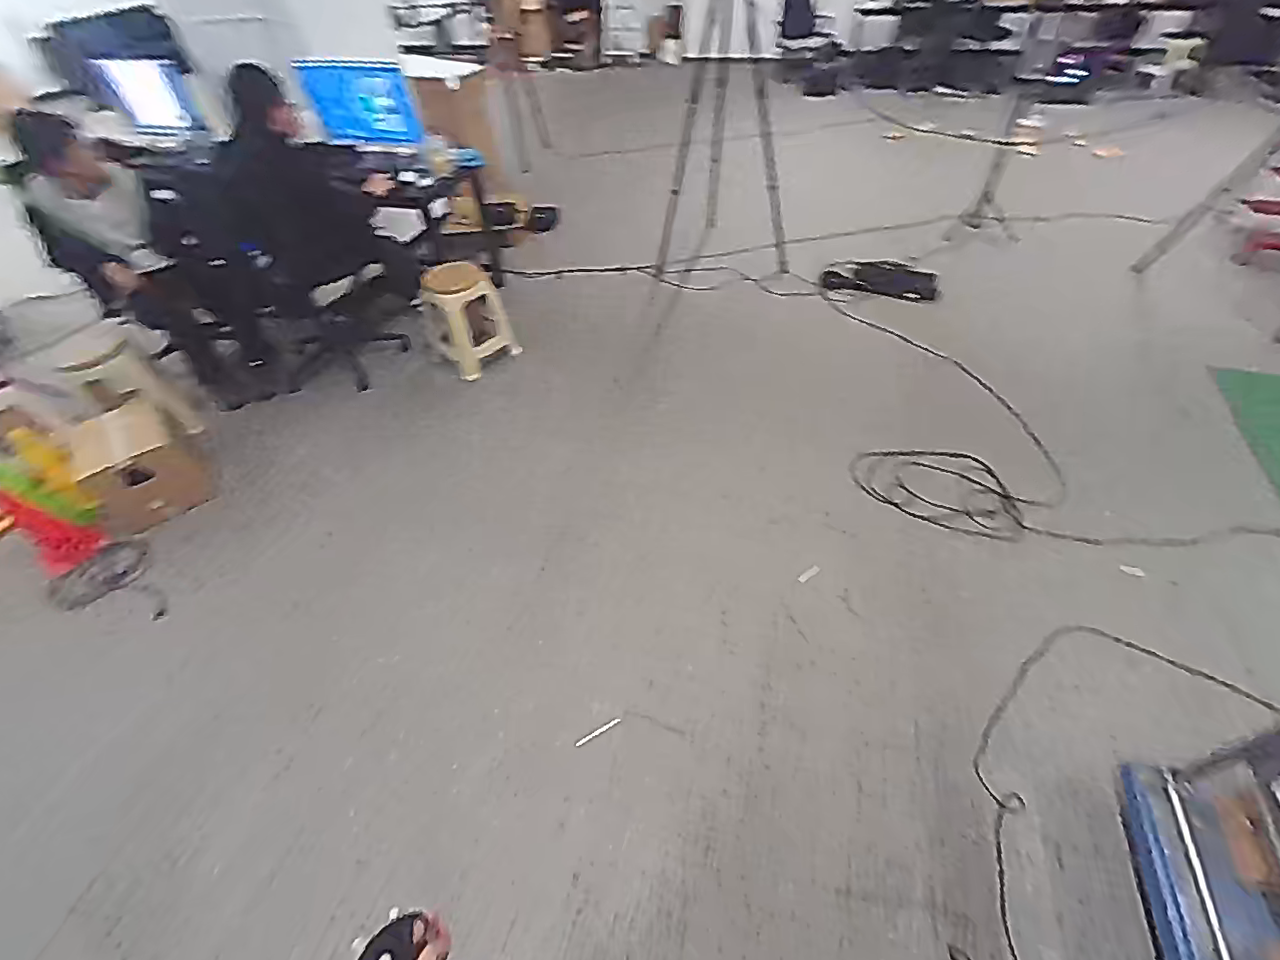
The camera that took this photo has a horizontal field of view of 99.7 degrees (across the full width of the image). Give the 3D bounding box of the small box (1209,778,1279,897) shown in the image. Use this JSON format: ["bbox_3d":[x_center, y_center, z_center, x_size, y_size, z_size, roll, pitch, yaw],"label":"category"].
[{"bbox_3d":[1.345,0.752,1.108,0.168,0.176,0.179,13,48,15],"label":"small box"}]
